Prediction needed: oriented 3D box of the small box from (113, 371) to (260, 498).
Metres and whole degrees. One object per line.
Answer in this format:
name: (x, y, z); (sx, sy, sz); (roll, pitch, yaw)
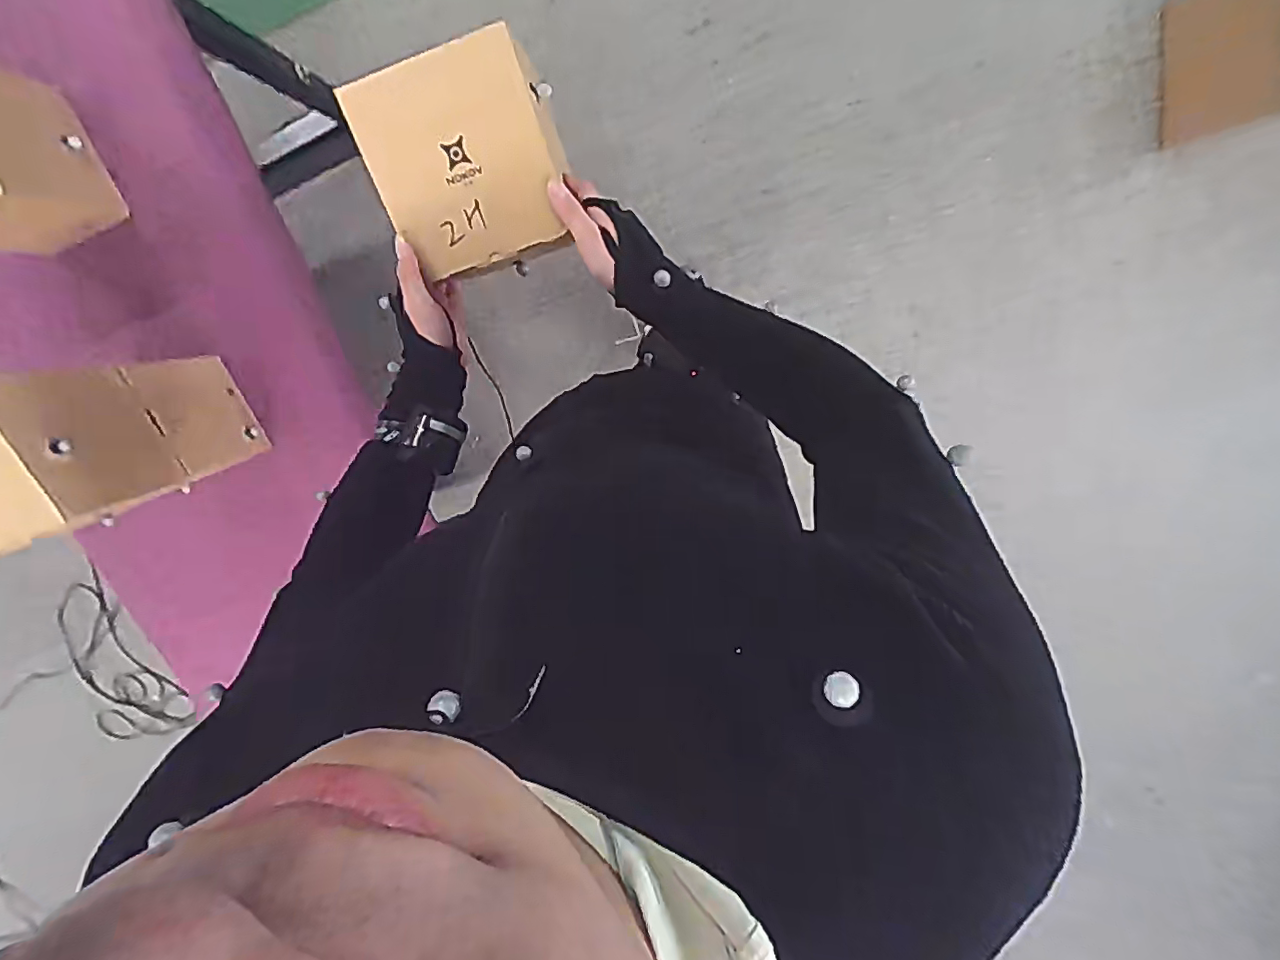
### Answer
small box: (-0.727, -0.055, 0.821); (0.179, 0.176, 0.168); (-20, 105, 10)

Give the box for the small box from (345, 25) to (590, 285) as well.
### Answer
small box: (-0.159, -0.317, 0.568); (0.168, 0.176, 0.179); (-16, 112, 6)

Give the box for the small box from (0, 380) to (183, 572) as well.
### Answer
small box: (-0.733, -0.008, 0.665); (0.168, 0.176, 0.179); (-20, 104, 8)

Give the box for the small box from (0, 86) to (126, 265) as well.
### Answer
small box: (-0.867, -0.406, 0.718); (0.168, 0.176, 0.179); (-19, 105, 9)
